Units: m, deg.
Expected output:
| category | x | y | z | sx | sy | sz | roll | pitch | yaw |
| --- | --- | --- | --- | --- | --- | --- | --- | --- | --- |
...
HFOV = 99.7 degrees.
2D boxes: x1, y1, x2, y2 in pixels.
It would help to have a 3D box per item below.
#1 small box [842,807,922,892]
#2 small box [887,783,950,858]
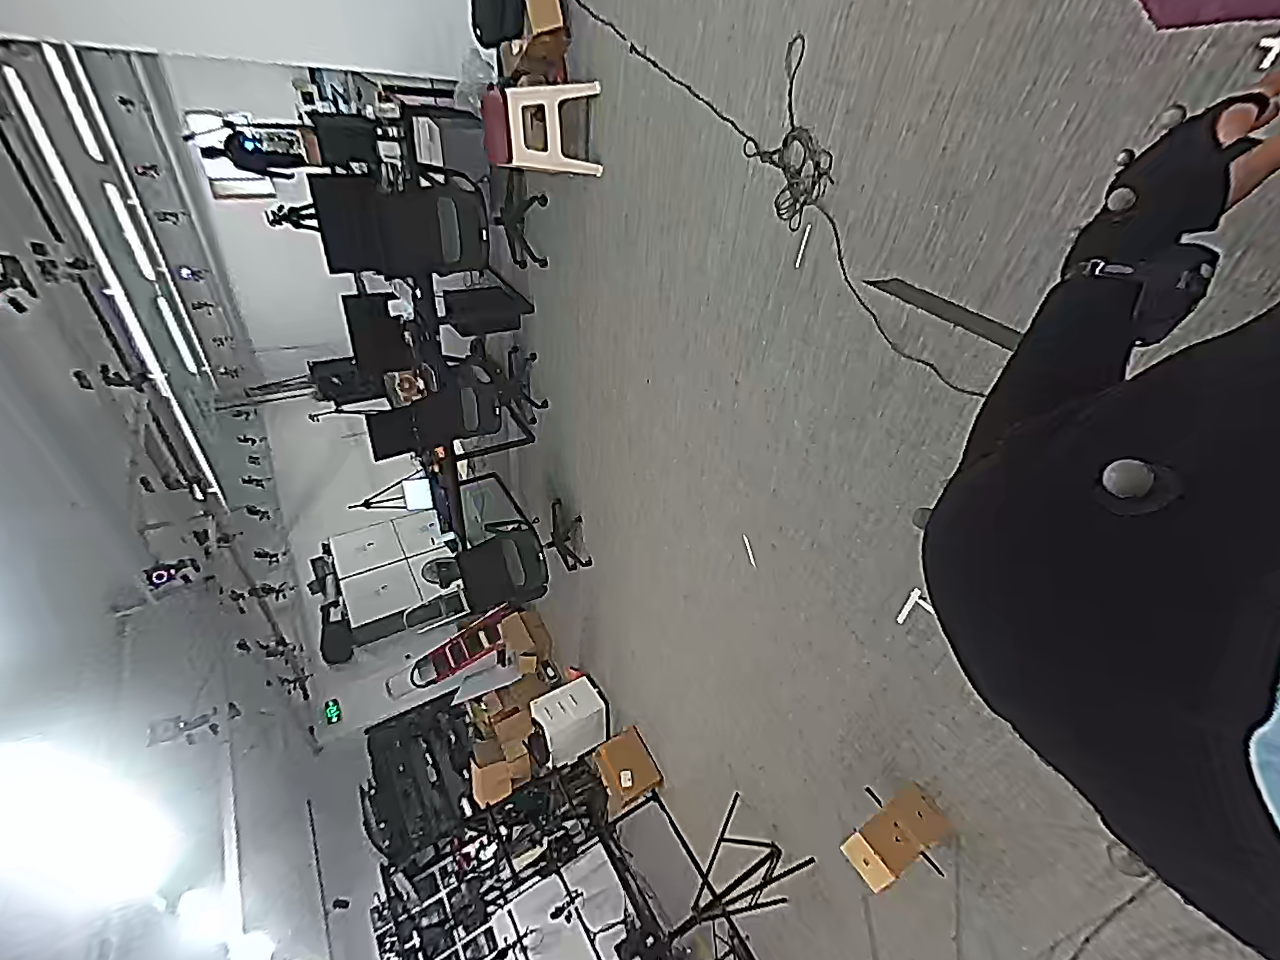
| category | x | y | z | sx | sy | sz | roll | pitch | yaw |
| --- | --- | --- | --- | --- | --- | --- | --- | --- | --- |
| small box | 0.867 | 1.316 | 1.932 | 0.168 | 0.176 | 0.179 | 47 | 142 | 38 |
| small box | 1.007 | 1.268 | 2.001 | 0.168 | 0.176 | 0.179 | 46 | 143 | 40 |
